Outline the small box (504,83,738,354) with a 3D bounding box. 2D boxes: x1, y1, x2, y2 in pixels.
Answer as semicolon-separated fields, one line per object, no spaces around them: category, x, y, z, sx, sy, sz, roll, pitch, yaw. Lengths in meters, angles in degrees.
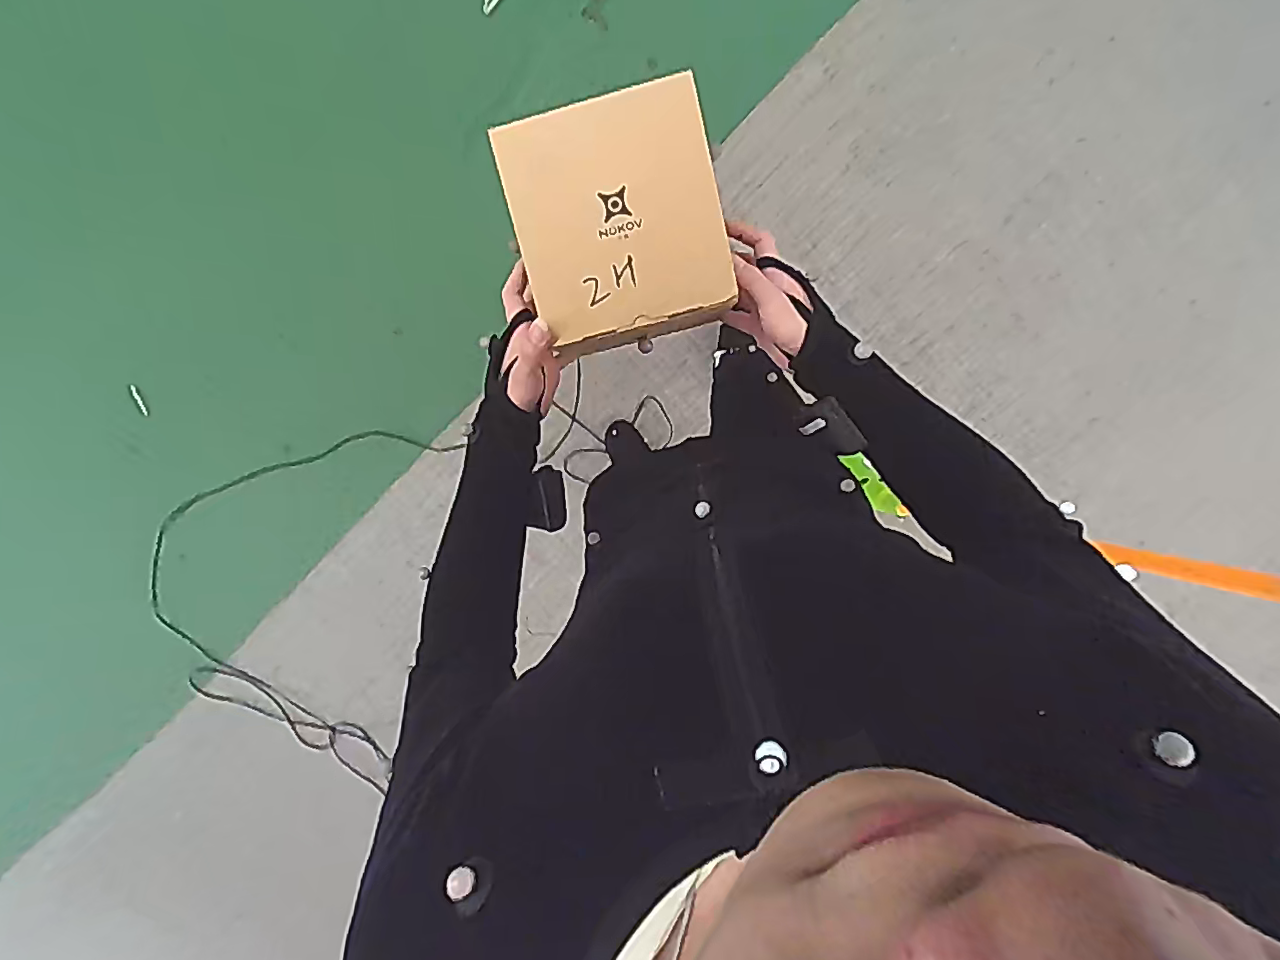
small box;-0.013;-0.228;0.521;0.168;0.176;0.179;-12;100;4
